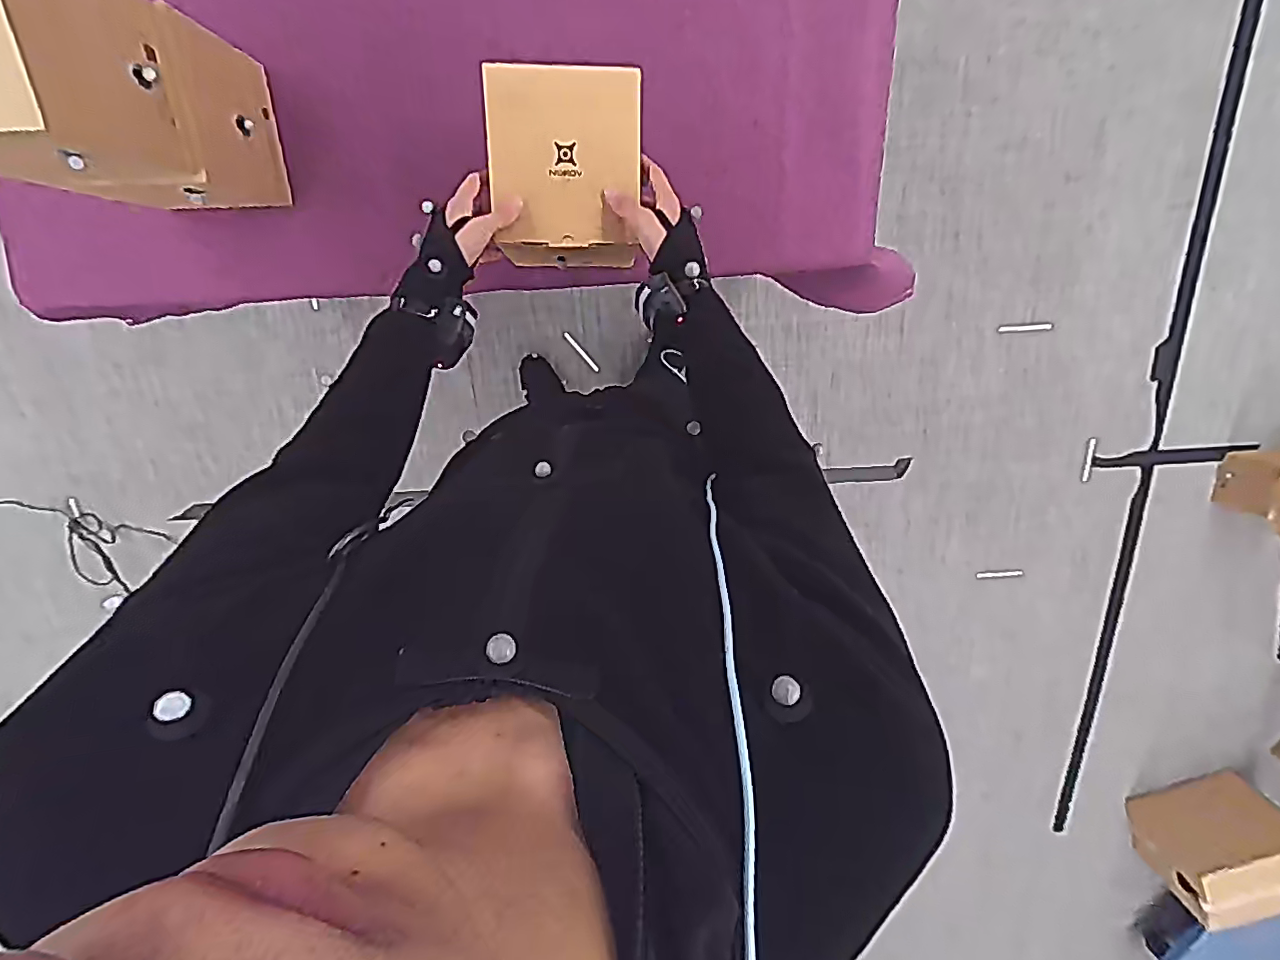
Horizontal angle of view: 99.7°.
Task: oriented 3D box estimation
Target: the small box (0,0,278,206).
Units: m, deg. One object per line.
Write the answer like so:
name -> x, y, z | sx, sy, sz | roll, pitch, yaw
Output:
small box -> -0.566, -0.428, 0.639 | 0.179, 0.176, 0.168 | -2, 109, -1
